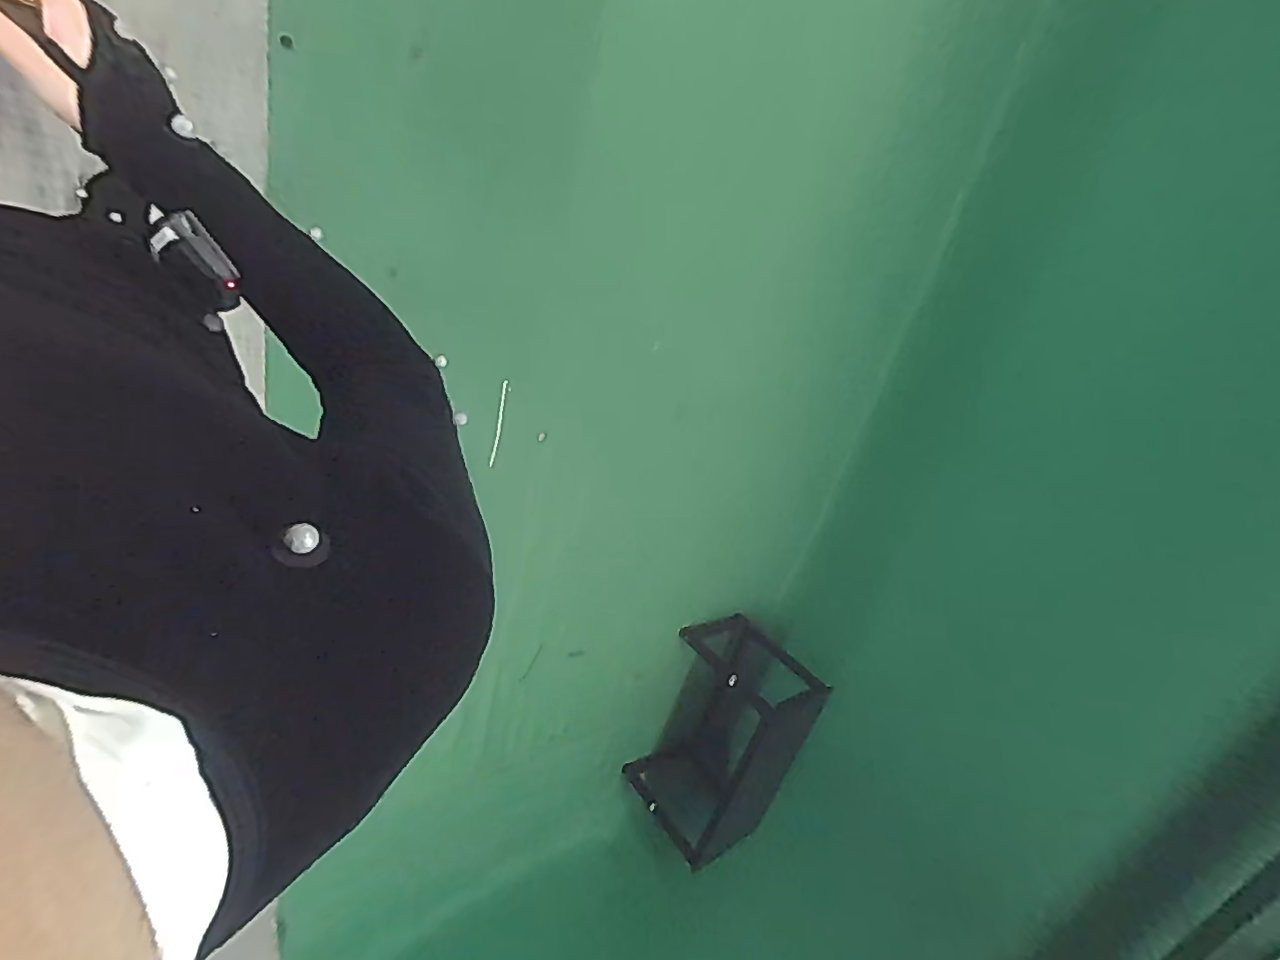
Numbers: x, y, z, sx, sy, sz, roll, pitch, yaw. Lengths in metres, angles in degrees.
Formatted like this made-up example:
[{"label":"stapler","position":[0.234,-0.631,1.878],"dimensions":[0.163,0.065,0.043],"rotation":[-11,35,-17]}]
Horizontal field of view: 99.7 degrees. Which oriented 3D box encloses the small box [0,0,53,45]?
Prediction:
[{"label":"small box","position":[-0.516,-0.431,0.352],"dimensions":[0.168,0.176,0.179],"rotation":[-8,116,-44]}]
